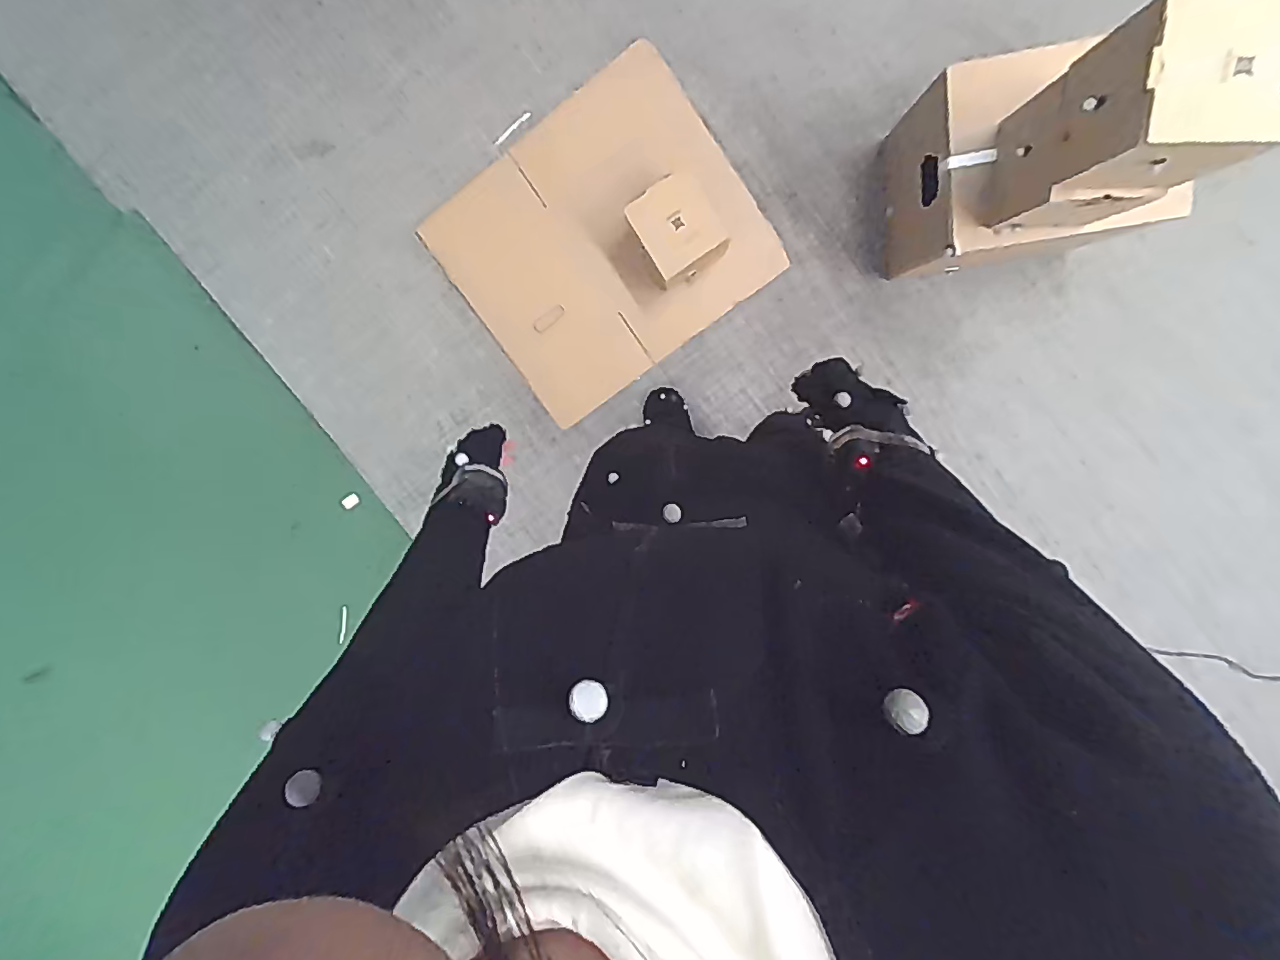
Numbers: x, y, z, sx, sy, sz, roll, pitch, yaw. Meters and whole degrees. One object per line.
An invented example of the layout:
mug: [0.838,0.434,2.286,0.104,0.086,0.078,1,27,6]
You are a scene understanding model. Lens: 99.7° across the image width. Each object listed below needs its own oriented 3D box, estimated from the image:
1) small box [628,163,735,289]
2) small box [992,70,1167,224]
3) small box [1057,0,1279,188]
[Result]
small box: [0.092,-0.553,1.208,0.168,0.176,0.179,-32,97,11]
small box: [0.695,-0.517,0.862,0.168,0.176,0.179,0,101,5]
small box: [0.688,-0.497,0.702,0.179,0.176,0.168,-1,100,4]
